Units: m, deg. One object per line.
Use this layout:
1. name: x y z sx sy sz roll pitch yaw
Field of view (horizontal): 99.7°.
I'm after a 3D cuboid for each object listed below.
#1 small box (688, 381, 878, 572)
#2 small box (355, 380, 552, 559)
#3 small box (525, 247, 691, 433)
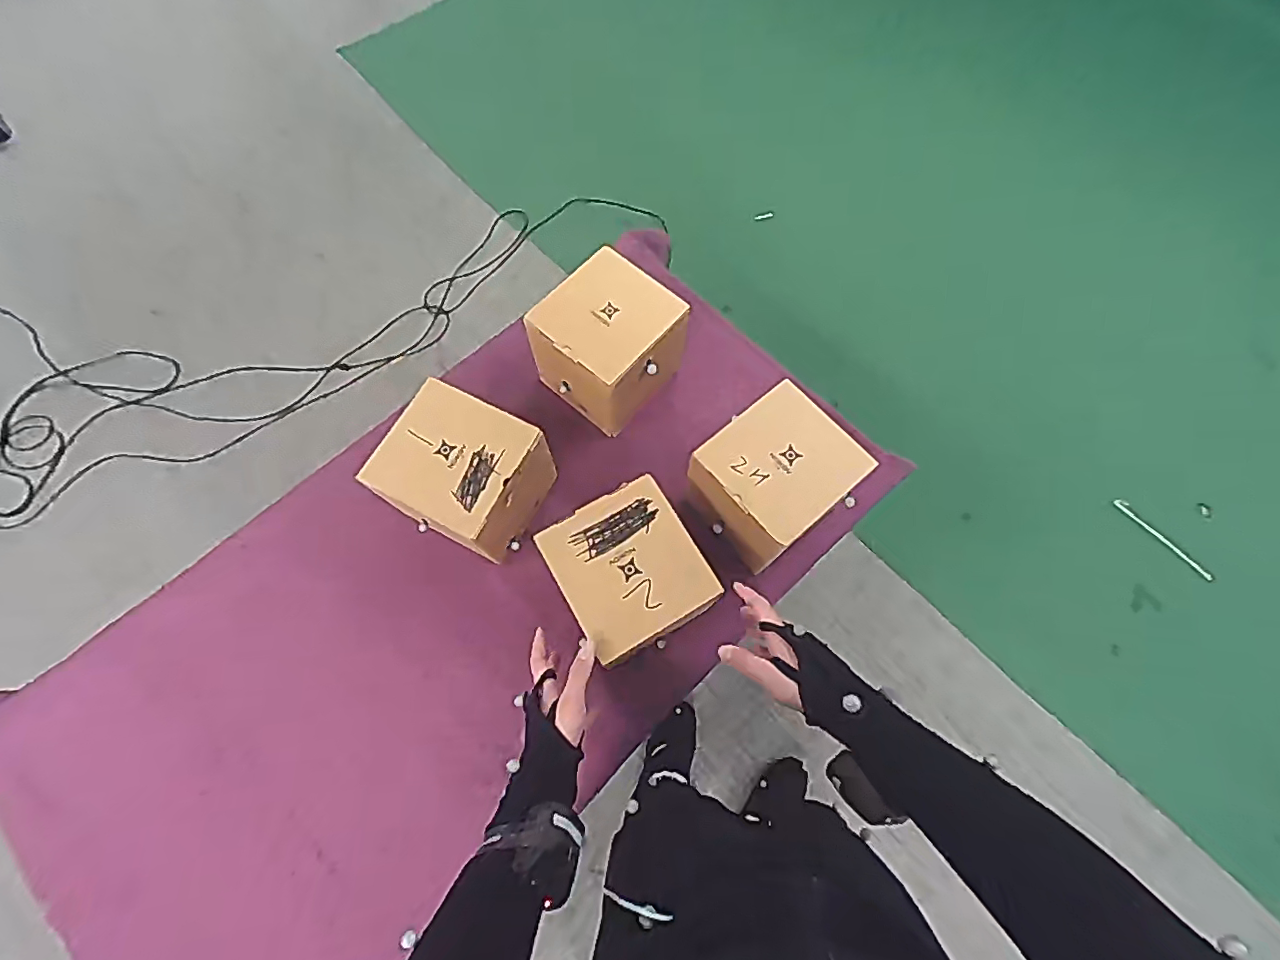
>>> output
1. small box: 0.183 0.003 0.752 0.179 0.176 0.168 -38 74 -12
2. small box: -0.241 -0.003 0.753 0.179 0.176 0.168 26 72 8
3. small box: -0.047 -0.205 0.827 0.168 0.176 0.179 40 76 12
